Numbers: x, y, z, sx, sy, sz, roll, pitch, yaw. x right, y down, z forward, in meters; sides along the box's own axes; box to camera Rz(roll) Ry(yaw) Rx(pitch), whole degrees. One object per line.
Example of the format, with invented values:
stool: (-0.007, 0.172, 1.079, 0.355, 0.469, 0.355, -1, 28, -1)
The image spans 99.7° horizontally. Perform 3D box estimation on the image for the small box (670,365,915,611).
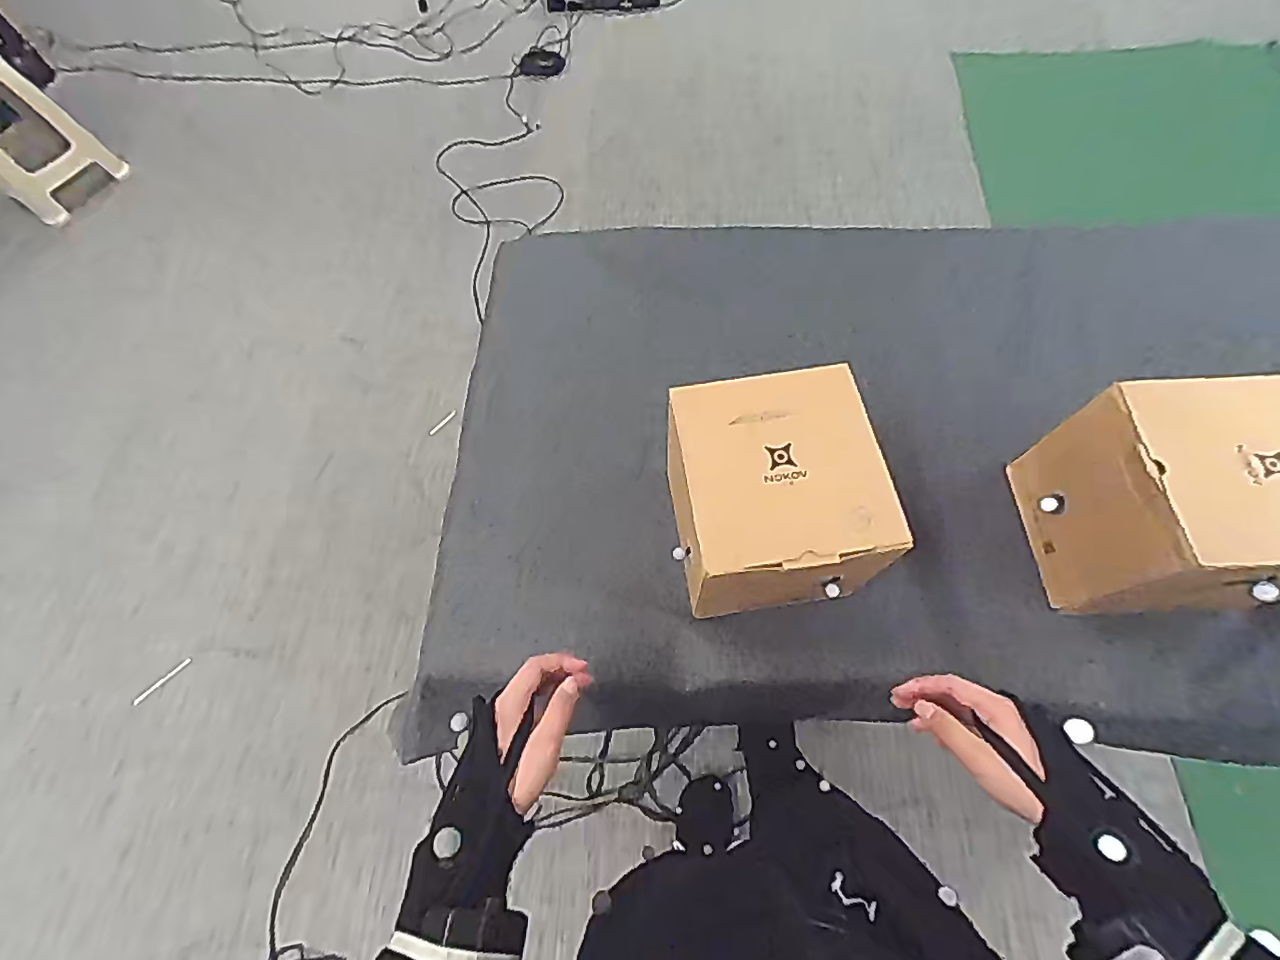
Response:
small box: (0.123, 0.019, 0.517, 0.168, 0.176, 0.179, -8, 63, -2)

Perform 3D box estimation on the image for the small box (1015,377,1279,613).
small box: (0.497, 0.023, 0.494, 0.179, 0.176, 0.168, -2, 65, 3)
